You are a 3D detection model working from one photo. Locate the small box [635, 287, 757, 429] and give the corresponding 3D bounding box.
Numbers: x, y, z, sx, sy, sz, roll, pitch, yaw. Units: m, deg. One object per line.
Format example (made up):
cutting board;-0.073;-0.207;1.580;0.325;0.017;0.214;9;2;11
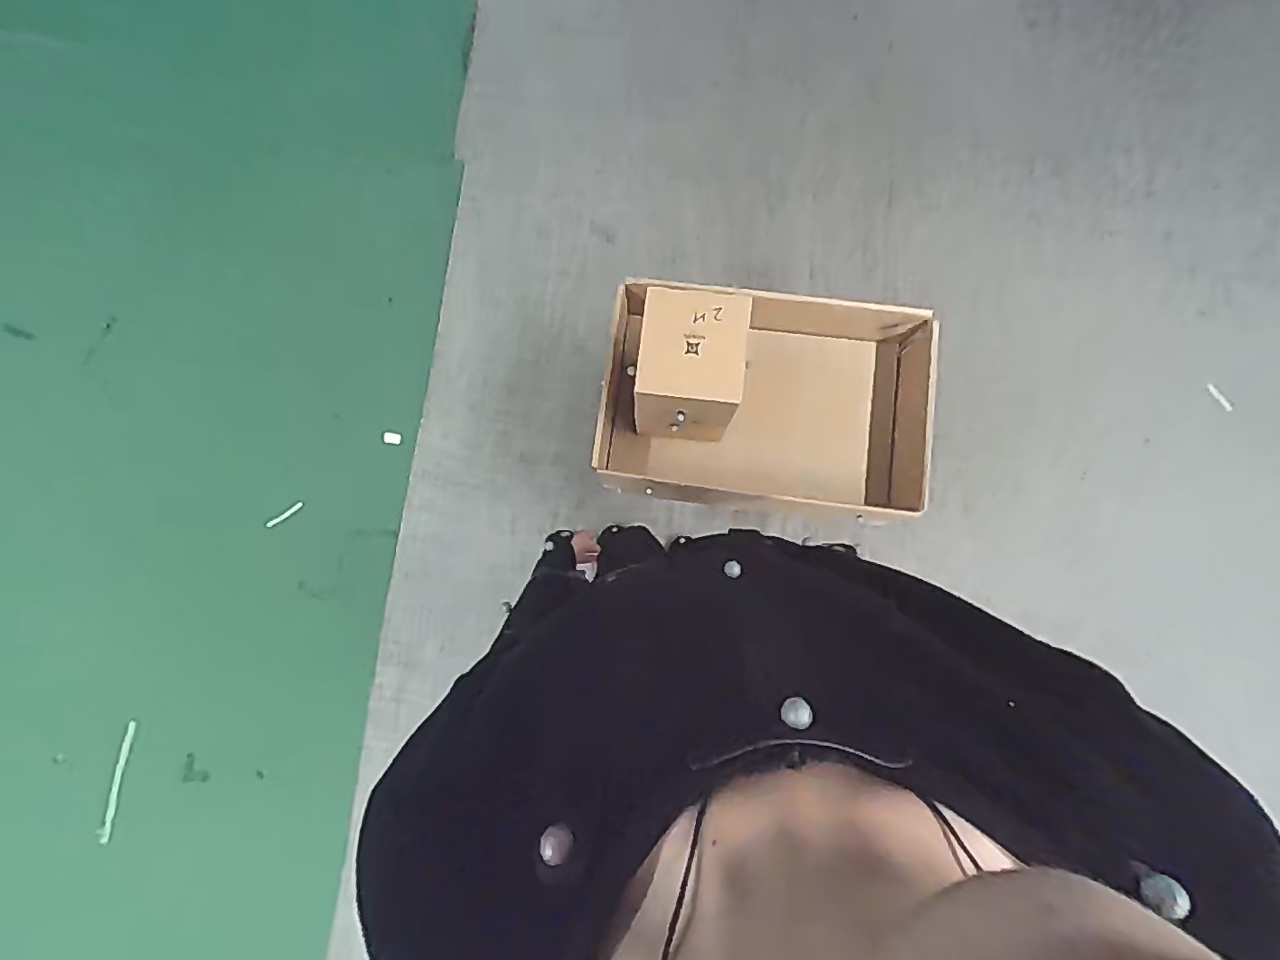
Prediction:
small box;0.089;-0.191;0.893;0.168;0.176;0.179;8;82;3
